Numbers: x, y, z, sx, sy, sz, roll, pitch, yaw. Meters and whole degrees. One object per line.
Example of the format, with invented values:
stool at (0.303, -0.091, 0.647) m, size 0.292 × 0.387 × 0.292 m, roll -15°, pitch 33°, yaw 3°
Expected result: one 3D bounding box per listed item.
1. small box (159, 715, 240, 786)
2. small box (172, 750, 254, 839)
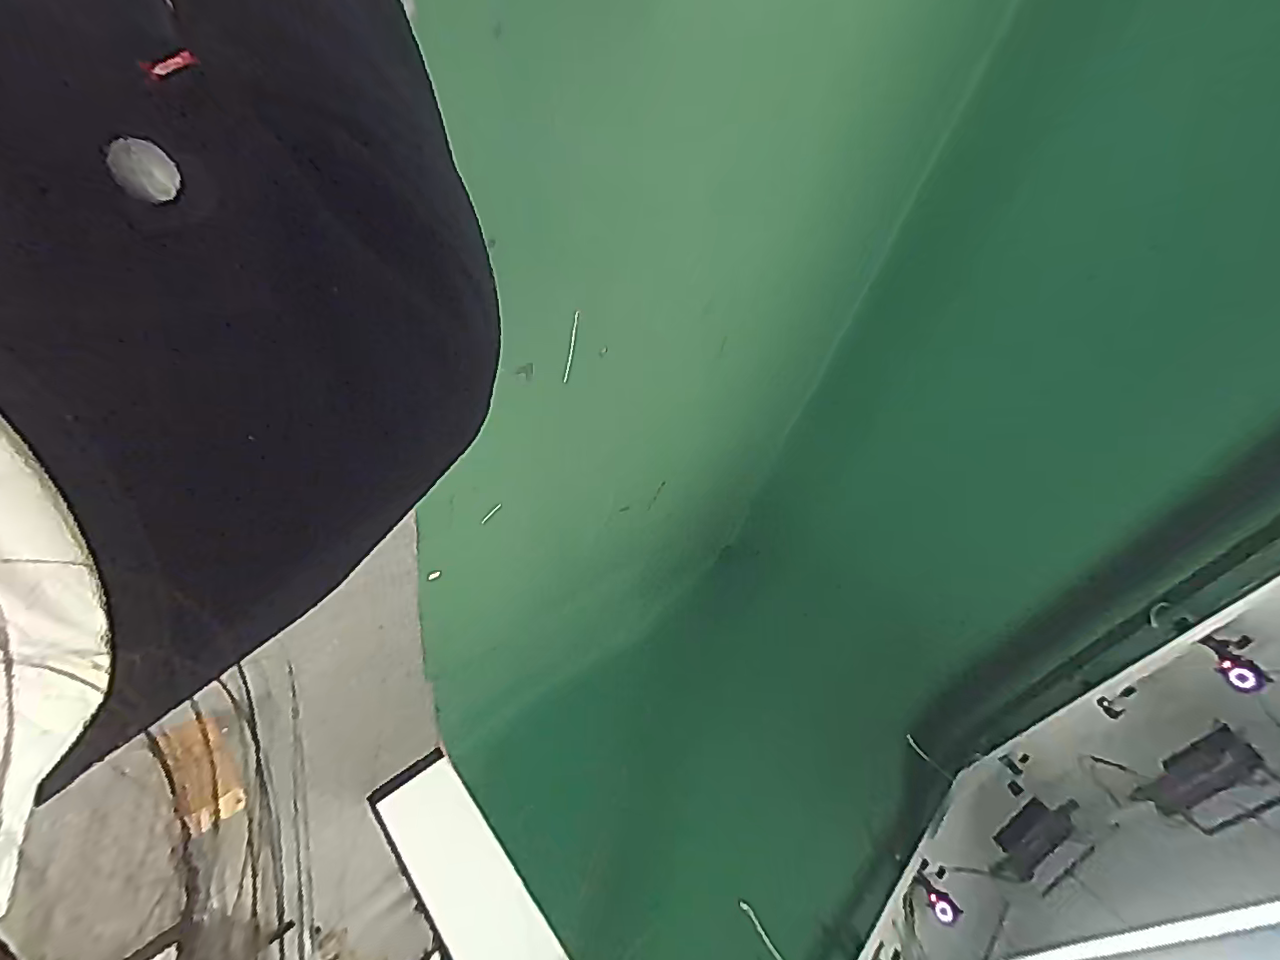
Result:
small box at (-1.591, 0.993, 1.949) m, size 0.179 × 0.176 × 0.168 m, roll -27°, pitch 147°, yaw -39°
small box at (-1.479, 1.081, 1.870) m, size 0.179 × 0.176 × 0.168 m, roll -24°, pitch 145°, yaw -39°
